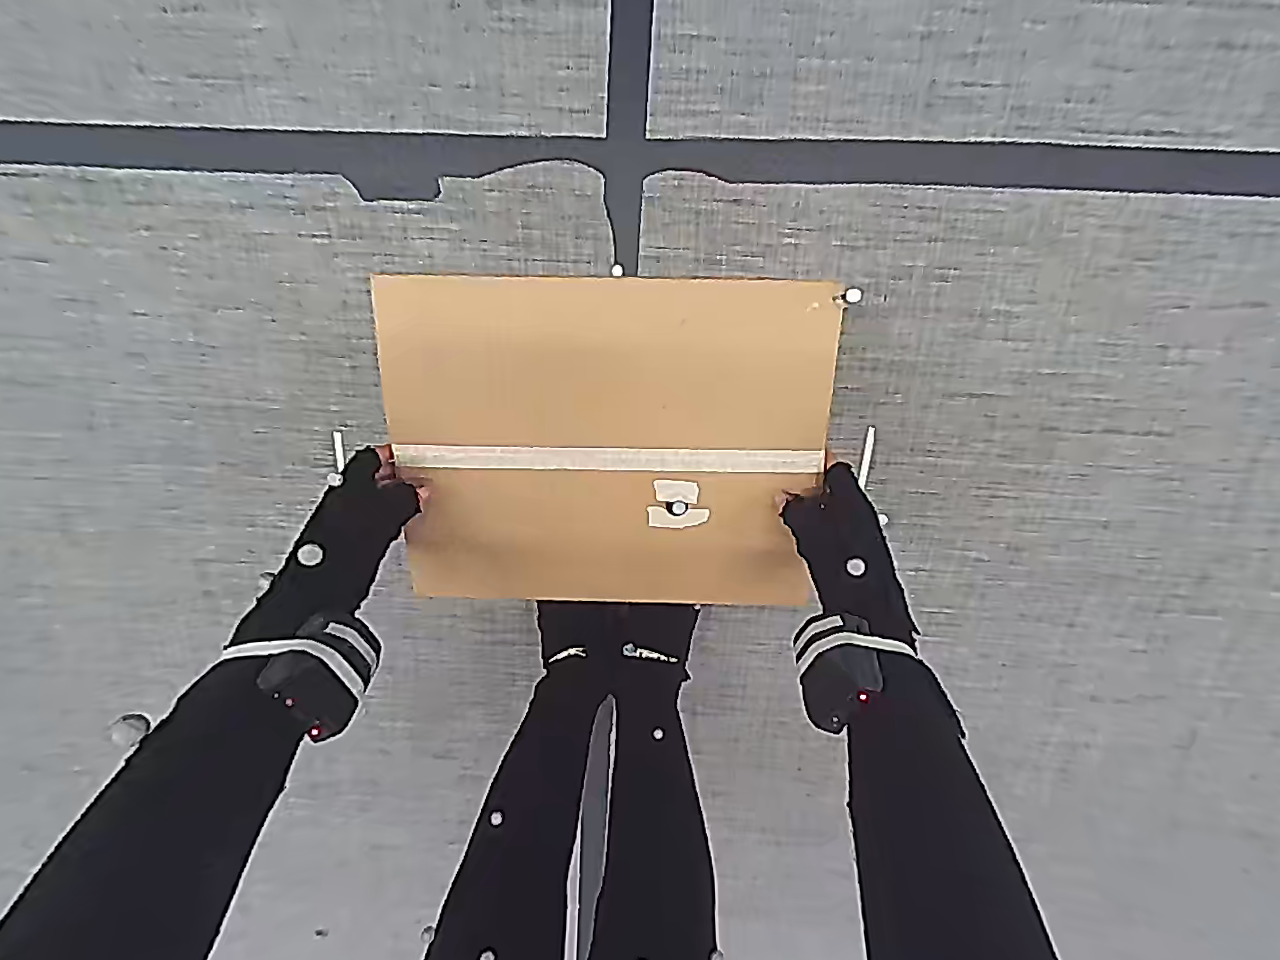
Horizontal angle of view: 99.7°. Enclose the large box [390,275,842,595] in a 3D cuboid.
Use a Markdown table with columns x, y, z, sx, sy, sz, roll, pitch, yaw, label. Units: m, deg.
| x | y | z | sx | sy | sz | roll | pitch | yaw | label |
| --- | --- | --- | --- | --- | --- | --- | --- | --- | --- |
| -0.022 | -0.072 | 0.656 | 0.408 | 0.320 | 0.320 | 1 | 109 | 0 | large box |
